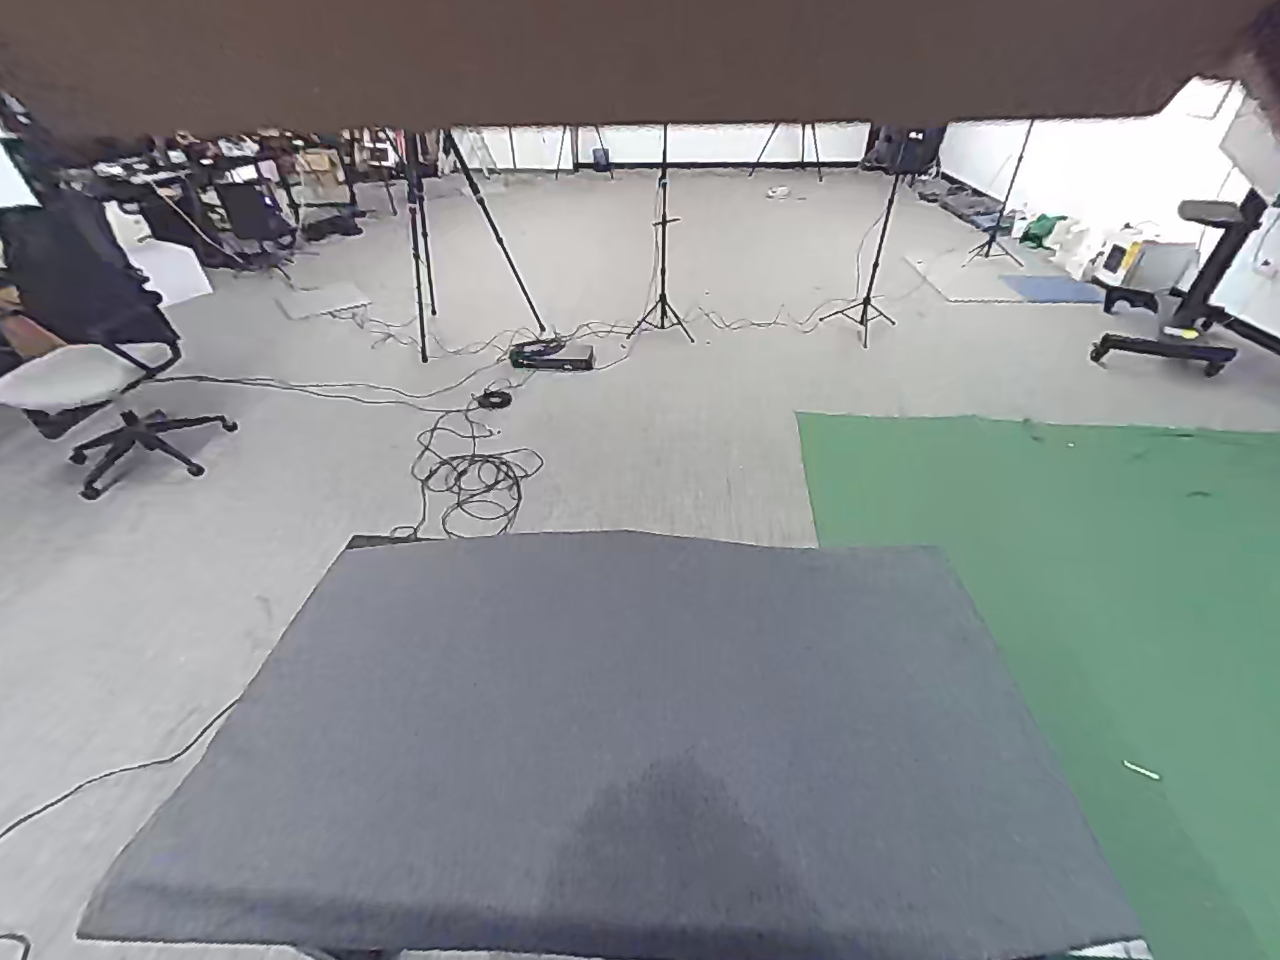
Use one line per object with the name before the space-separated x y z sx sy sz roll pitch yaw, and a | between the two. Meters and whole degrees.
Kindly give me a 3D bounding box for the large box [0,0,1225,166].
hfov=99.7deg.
large box | -0.026 -0.304 0.096 0.408 0.320 0.320 0 79 1
